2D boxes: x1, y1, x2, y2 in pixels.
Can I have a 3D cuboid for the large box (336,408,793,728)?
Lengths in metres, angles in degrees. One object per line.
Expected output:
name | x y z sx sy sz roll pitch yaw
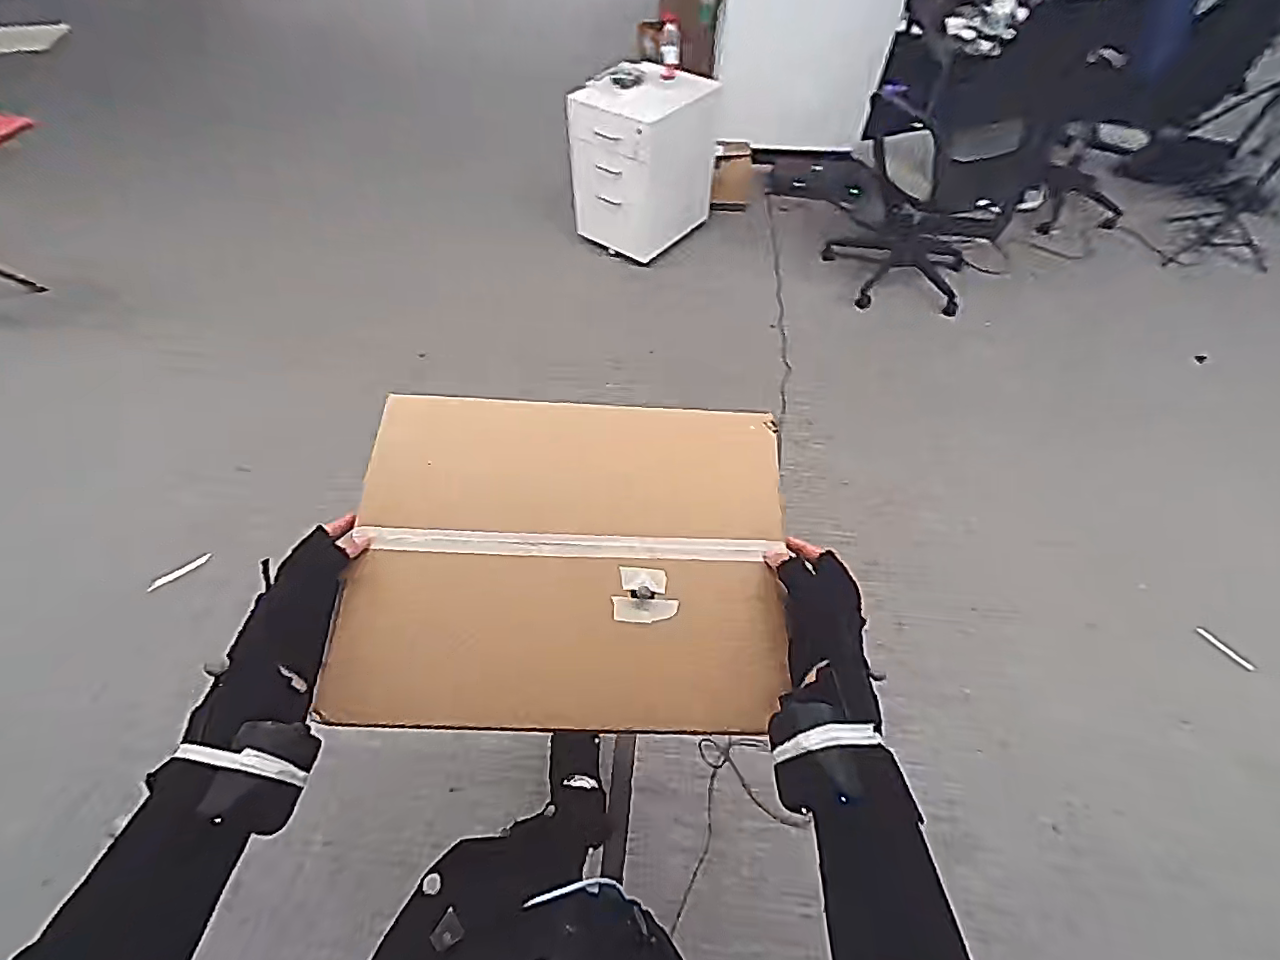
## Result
large box | -0.070 0.130 0.661 0.408 0.320 0.320 3 66 -3
